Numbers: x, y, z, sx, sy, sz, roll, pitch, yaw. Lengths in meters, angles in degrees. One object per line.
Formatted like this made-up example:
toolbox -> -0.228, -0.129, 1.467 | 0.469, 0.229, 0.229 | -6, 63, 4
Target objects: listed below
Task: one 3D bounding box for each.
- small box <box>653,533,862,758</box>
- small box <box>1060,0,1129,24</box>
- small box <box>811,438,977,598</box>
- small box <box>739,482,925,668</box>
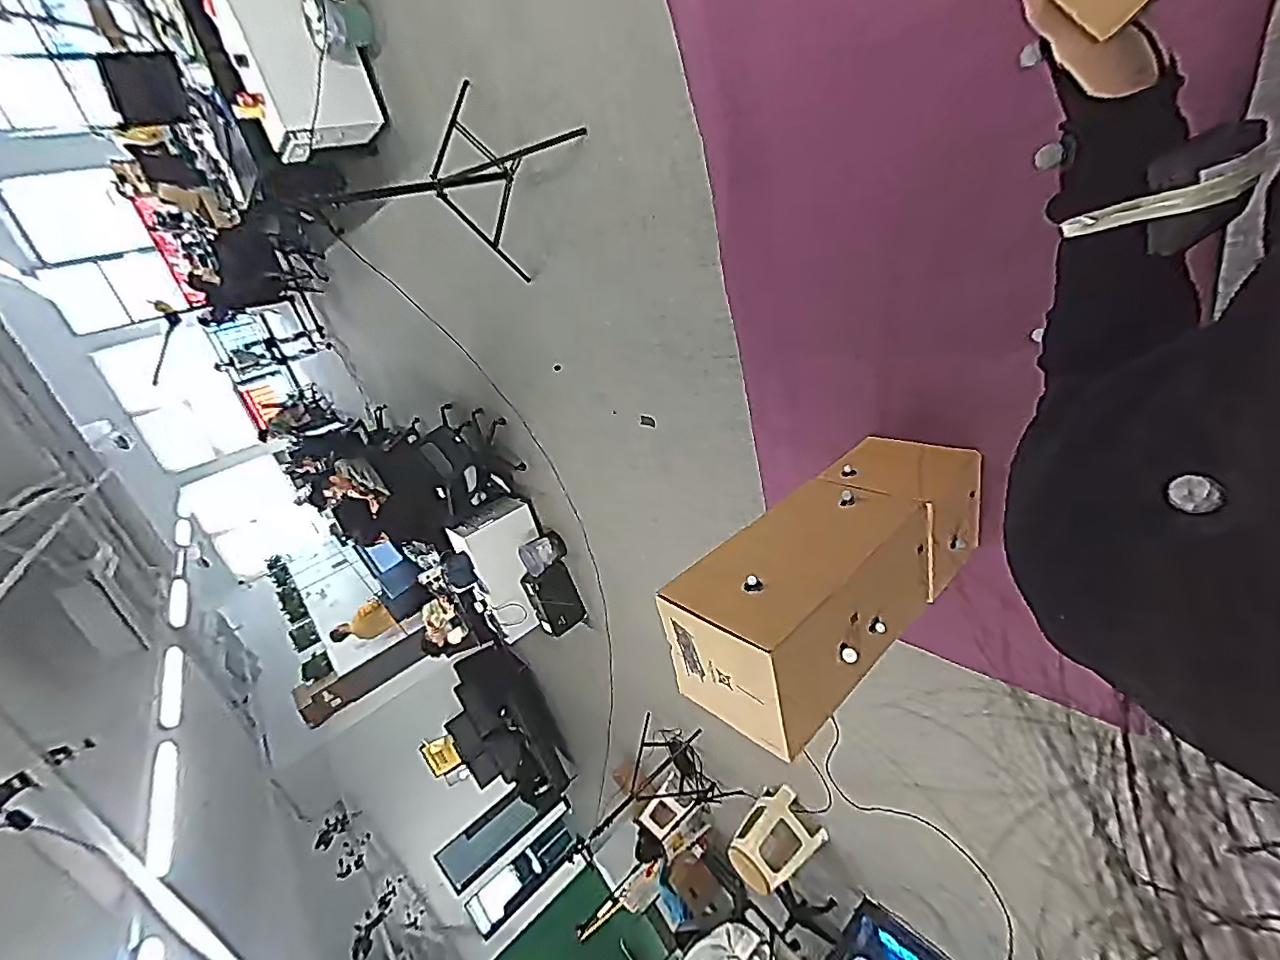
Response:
small box -> 0.146, 0.185, 0.663 | 0.179, 0.176, 0.168 | 16, 128, 48
small box -> 0.249, -0.360, 0.237 | 0.179, 0.176, 0.168 | 47, 154, 3
small box -> 0.392, 0.046, 0.831 | 0.179, 0.176, 0.168 | 17, 129, 49
small box -> 0.268, 0.117, 0.751 | 0.179, 0.176, 0.168 | 16, 129, 50
